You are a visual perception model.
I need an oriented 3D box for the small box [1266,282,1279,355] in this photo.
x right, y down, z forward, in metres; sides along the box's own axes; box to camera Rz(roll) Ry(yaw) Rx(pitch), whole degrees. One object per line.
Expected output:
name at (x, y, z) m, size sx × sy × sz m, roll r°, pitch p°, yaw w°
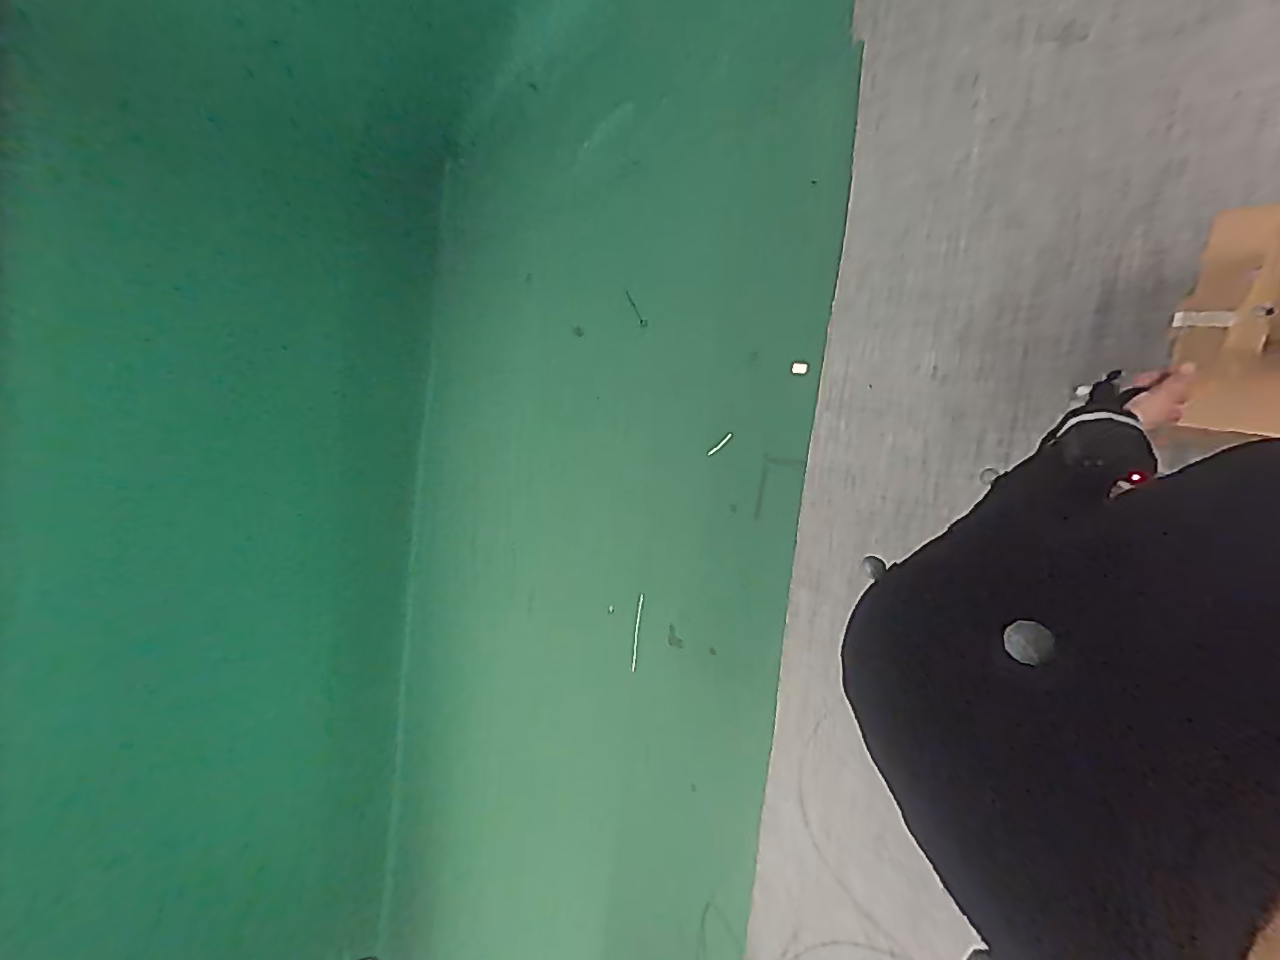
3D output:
small box at (0.719, -0.206, 0.496) m, size 0.168 × 0.176 × 0.179 m, roll 15°, pitch 99°, yaw 46°

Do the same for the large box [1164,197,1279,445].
large box at (1.039, -0.198, 0.743) m, size 0.408 × 0.320 × 0.320 m, roll 18°, pitch 103°, yaw 46°

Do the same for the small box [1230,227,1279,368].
small box at (0.830, -0.215, 0.615) m, size 0.179 × 0.176 × 0.168 m, roll 27°, pitch 108°, yaw 45°
